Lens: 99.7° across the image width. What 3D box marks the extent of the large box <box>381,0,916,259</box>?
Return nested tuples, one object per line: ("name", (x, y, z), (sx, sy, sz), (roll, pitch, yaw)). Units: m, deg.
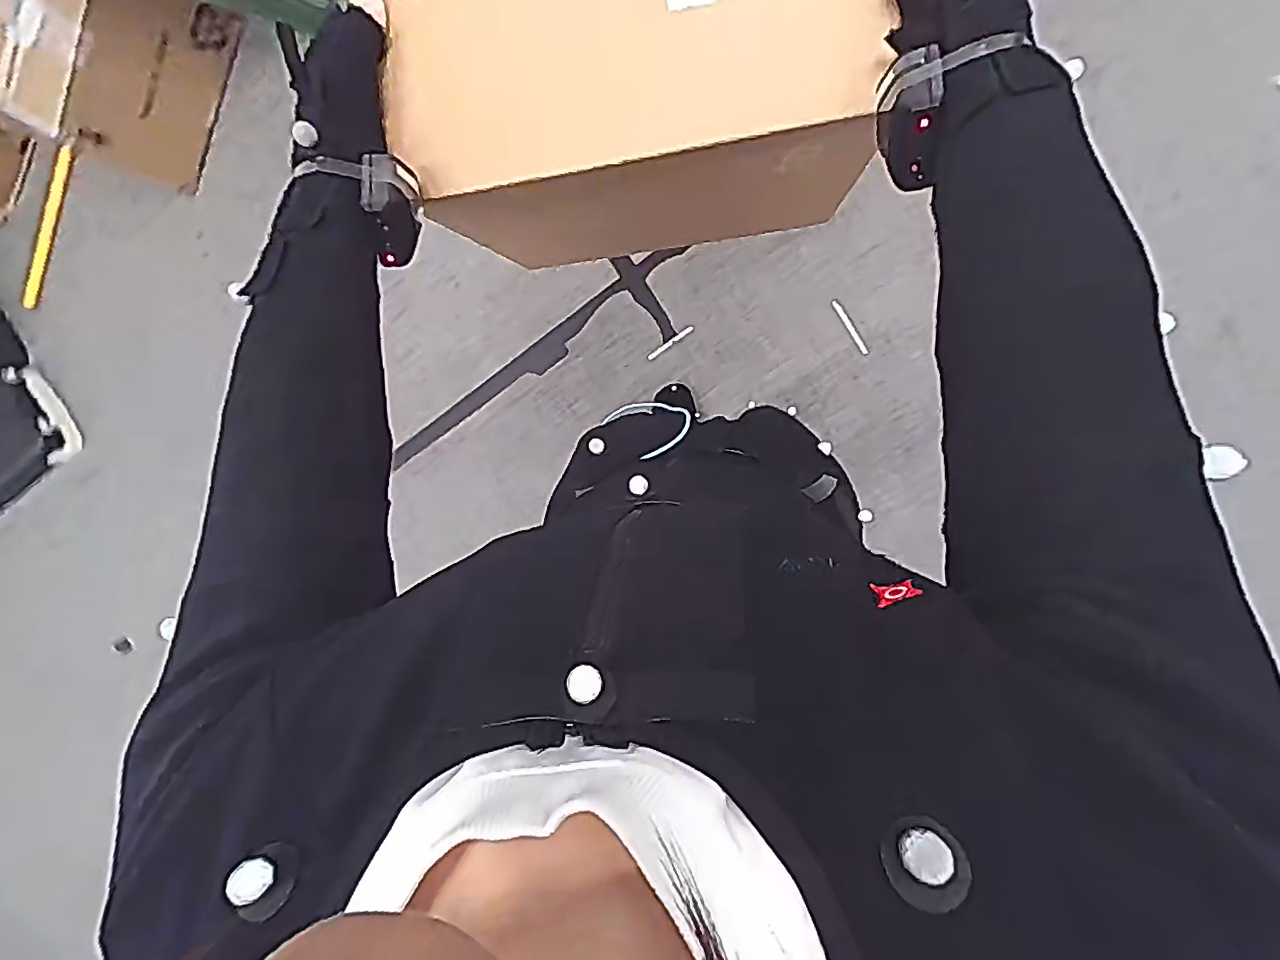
("large box", (0.006, -0.440, 0.542), (0.408, 0.320, 0.320), (-5, 101, 9))
